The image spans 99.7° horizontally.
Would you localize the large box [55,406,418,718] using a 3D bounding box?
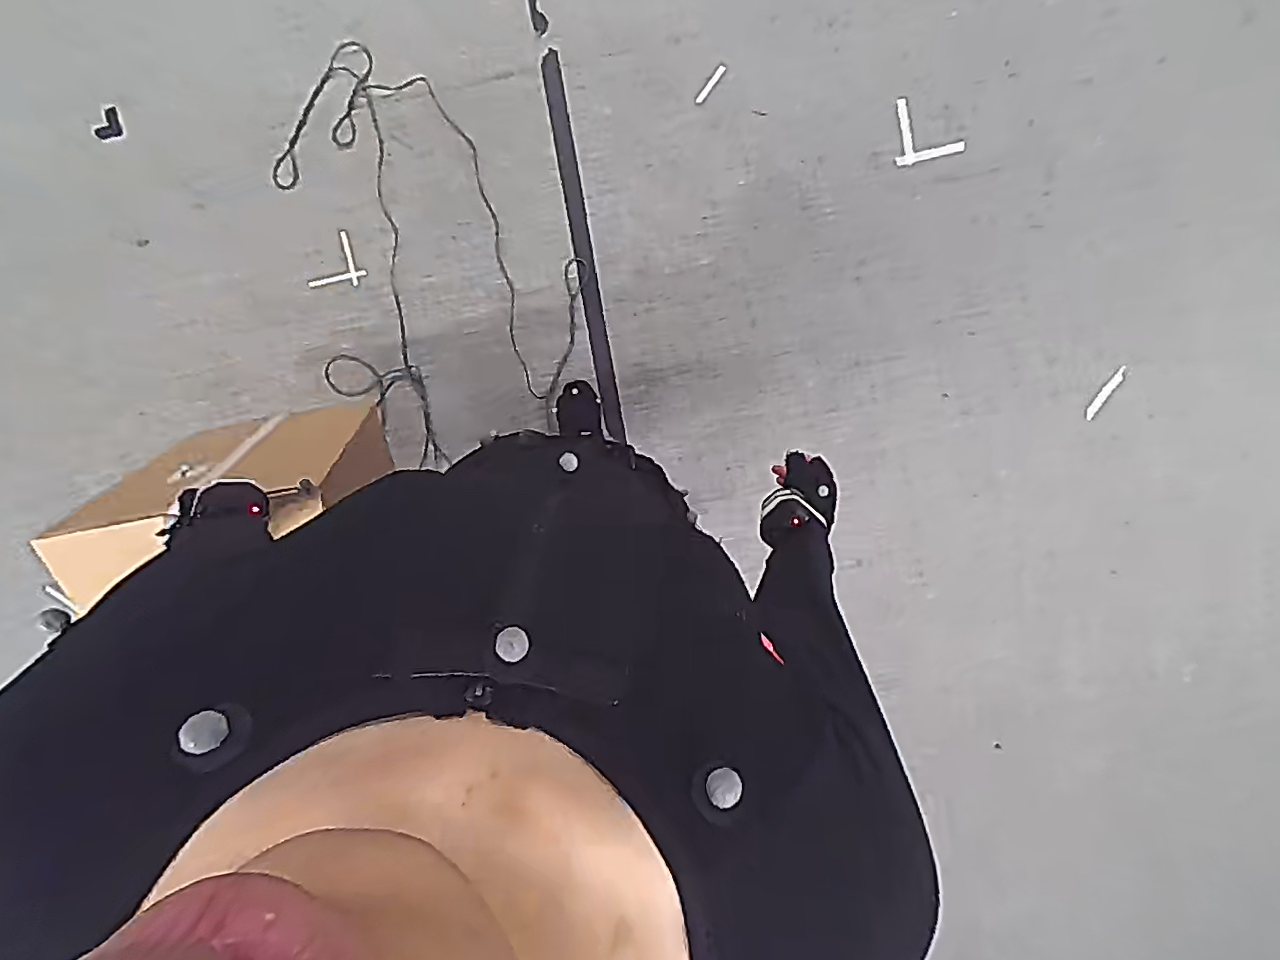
[{"bbox_3d":[-0.585,0.101,0.904,0.320,0.408,0.320,-14,116,-10],"label":"large box"}]
